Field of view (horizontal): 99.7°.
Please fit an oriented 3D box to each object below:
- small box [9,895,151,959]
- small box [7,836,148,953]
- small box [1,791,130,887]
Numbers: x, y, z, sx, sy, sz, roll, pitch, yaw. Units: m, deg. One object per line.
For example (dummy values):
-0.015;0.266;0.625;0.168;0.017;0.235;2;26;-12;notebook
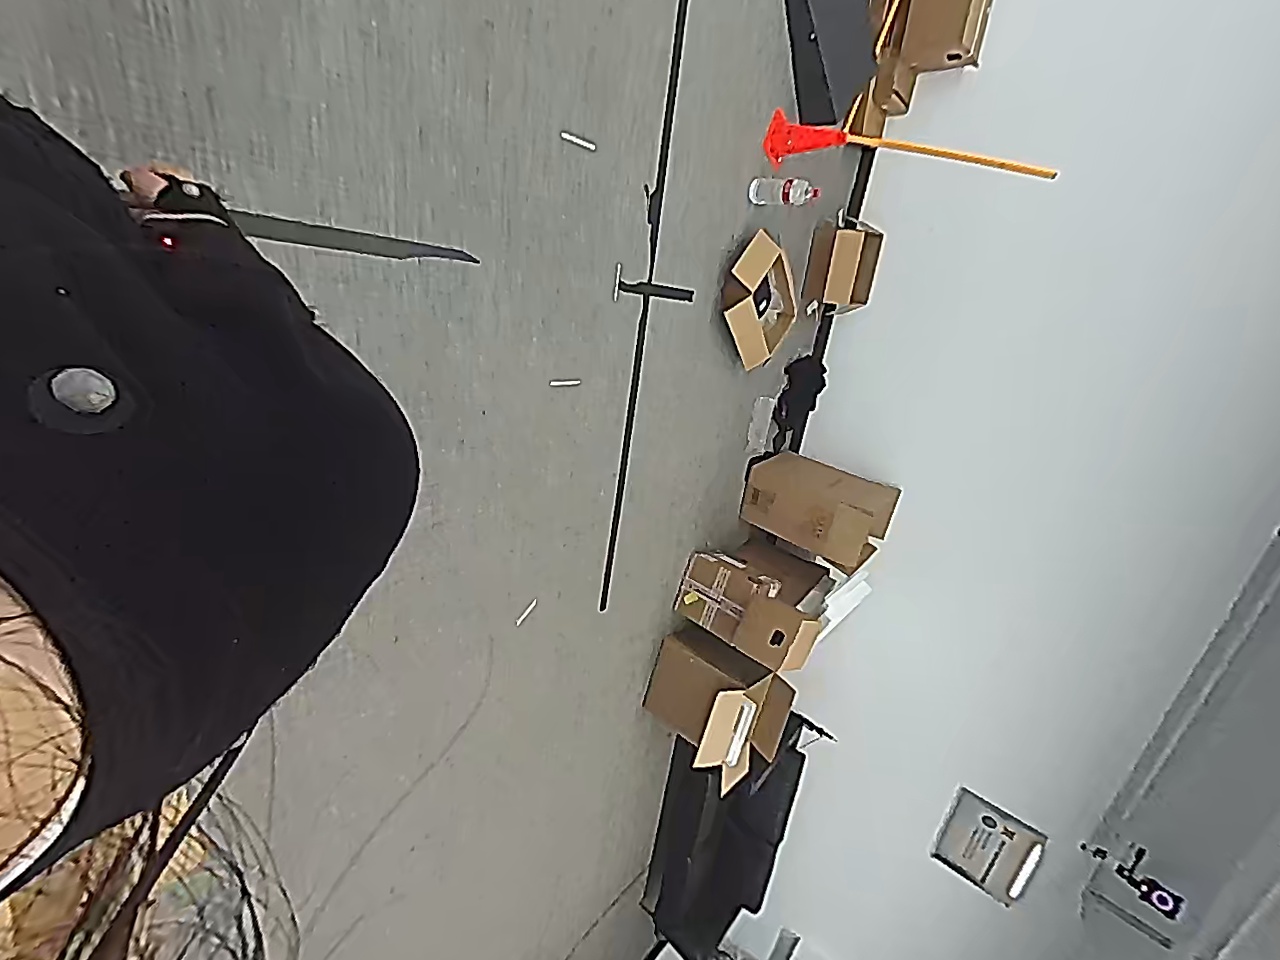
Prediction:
-1.079;0.973;1.054;0.168;0.176;0.179;-22;125;-45;small box
-1.197;0.918;1.155;0.168;0.176;0.179;-22;127;-46;small box
-1.321;0.861;1.246;0.168;0.176;0.179;-21;125;-46;small box
